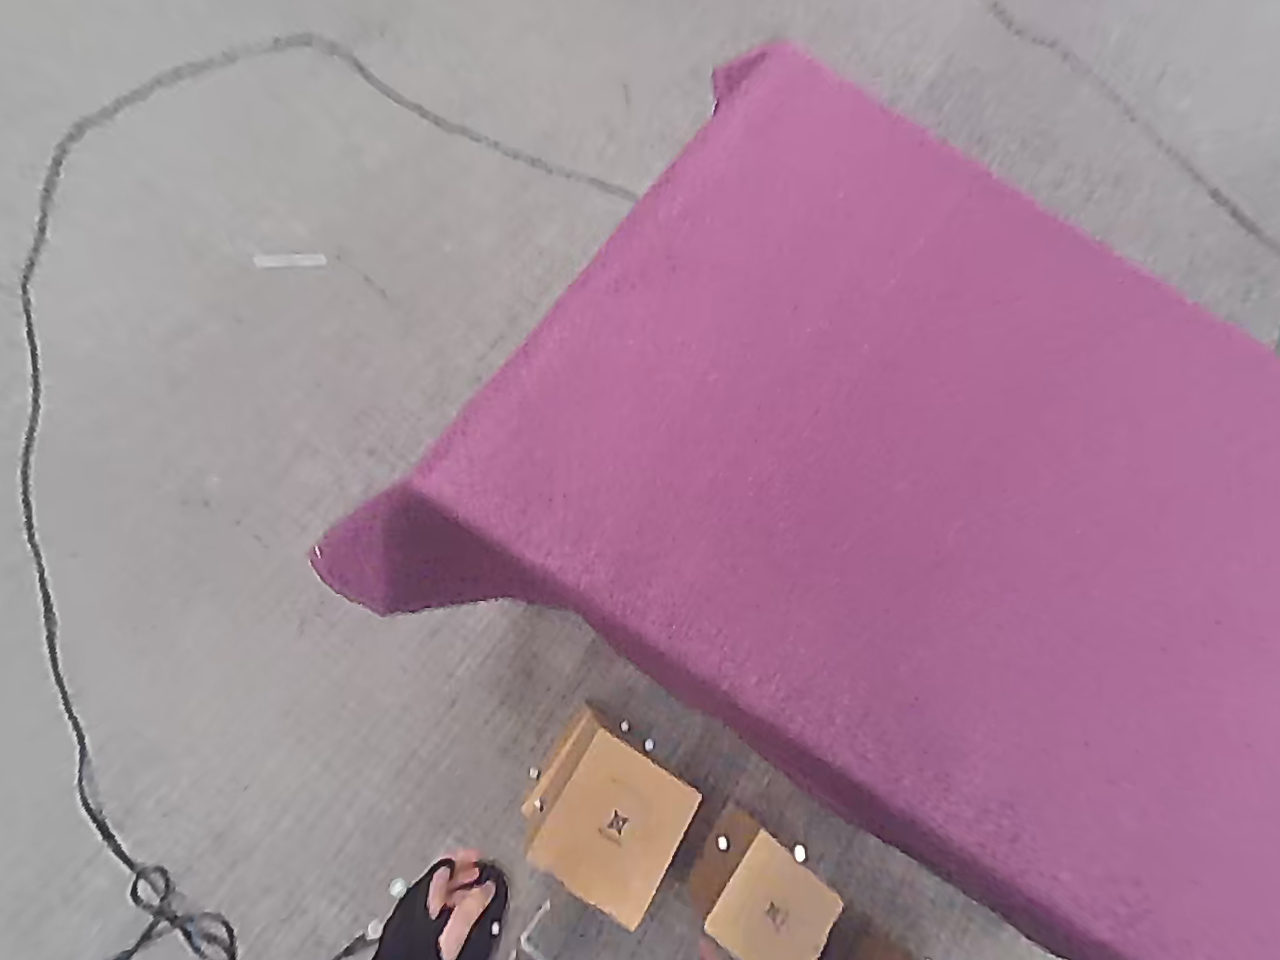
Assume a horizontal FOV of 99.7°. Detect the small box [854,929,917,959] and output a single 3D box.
[{"bbox_3d":[0.442,0.909,0.887,0.168,0.176,0.179,44,70,5],"label":"small box"}]
